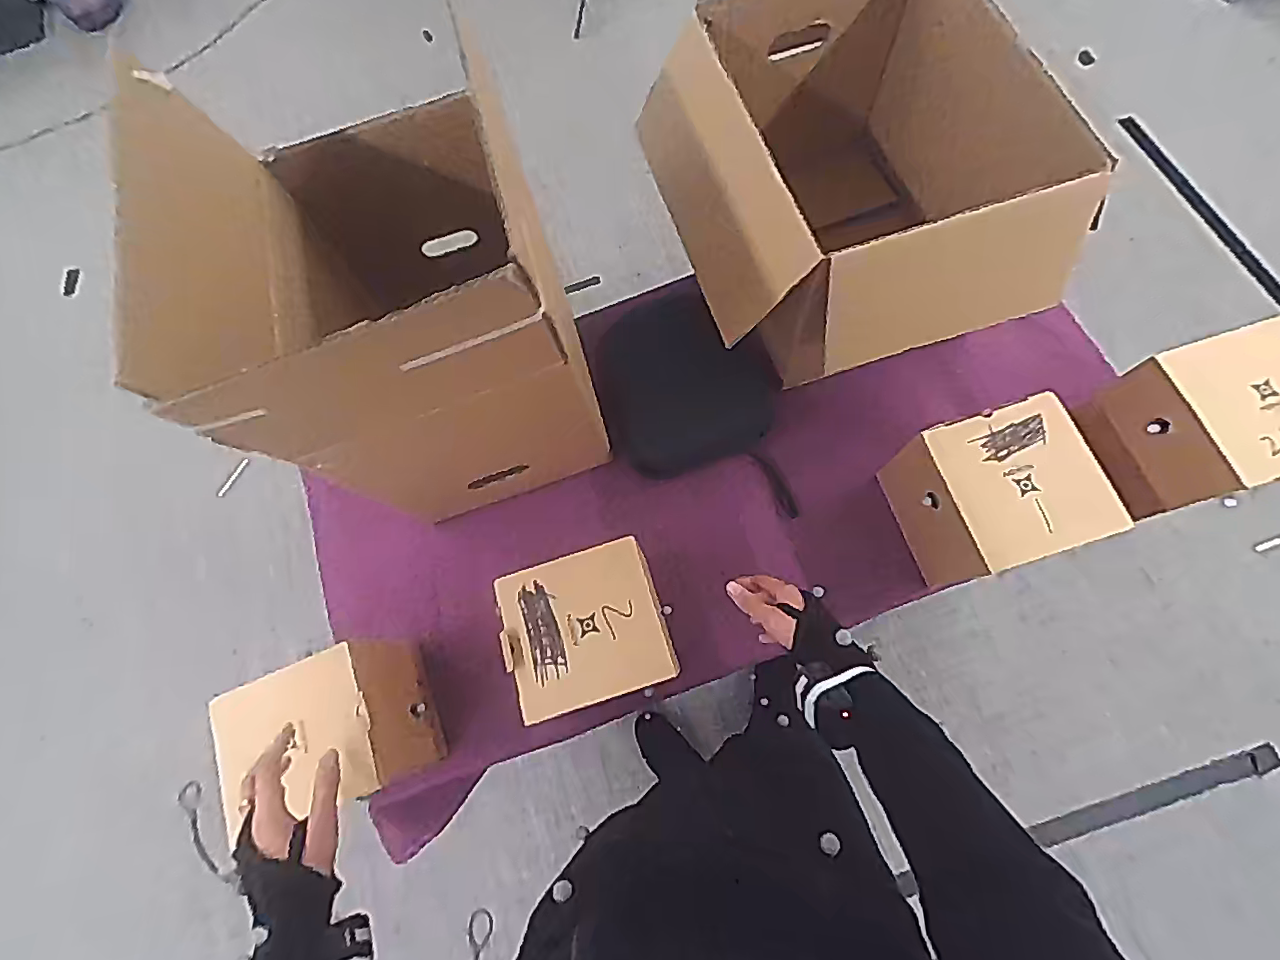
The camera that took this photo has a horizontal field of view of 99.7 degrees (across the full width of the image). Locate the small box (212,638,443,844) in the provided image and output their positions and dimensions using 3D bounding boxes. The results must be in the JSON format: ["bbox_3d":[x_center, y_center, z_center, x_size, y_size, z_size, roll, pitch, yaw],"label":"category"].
[{"bbox_3d":[-0.381,0.313,0.681,0.179,0.176,0.168,-23,72,-3],"label":"small box"}]

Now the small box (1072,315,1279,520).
[{"bbox_3d":[0.704,-0.068,0.677,0.168,0.176,0.179,-17,72,1],"label":"small box"}]

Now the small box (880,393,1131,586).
[{"bbox_3d":[0.434,0.022,0.681,0.168,0.176,0.179,-18,73,1],"label":"small box"}]
